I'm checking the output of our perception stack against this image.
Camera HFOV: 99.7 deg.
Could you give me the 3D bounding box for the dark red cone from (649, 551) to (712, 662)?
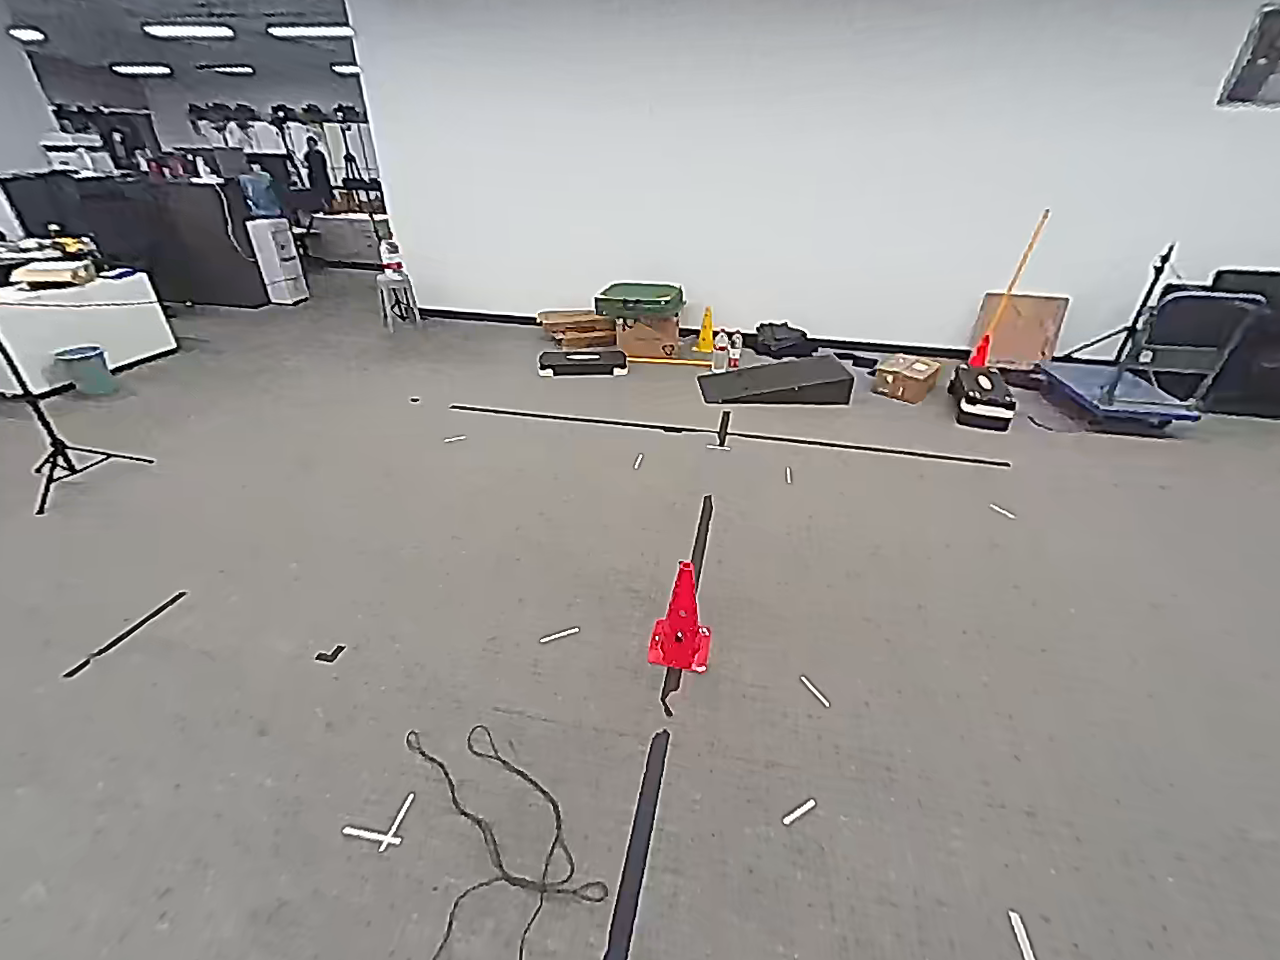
[{"bbox_3d":[0.140,0.390,1.751,0.201,0.394,0.202,6,32,10],"label":"dark red cone"}]
